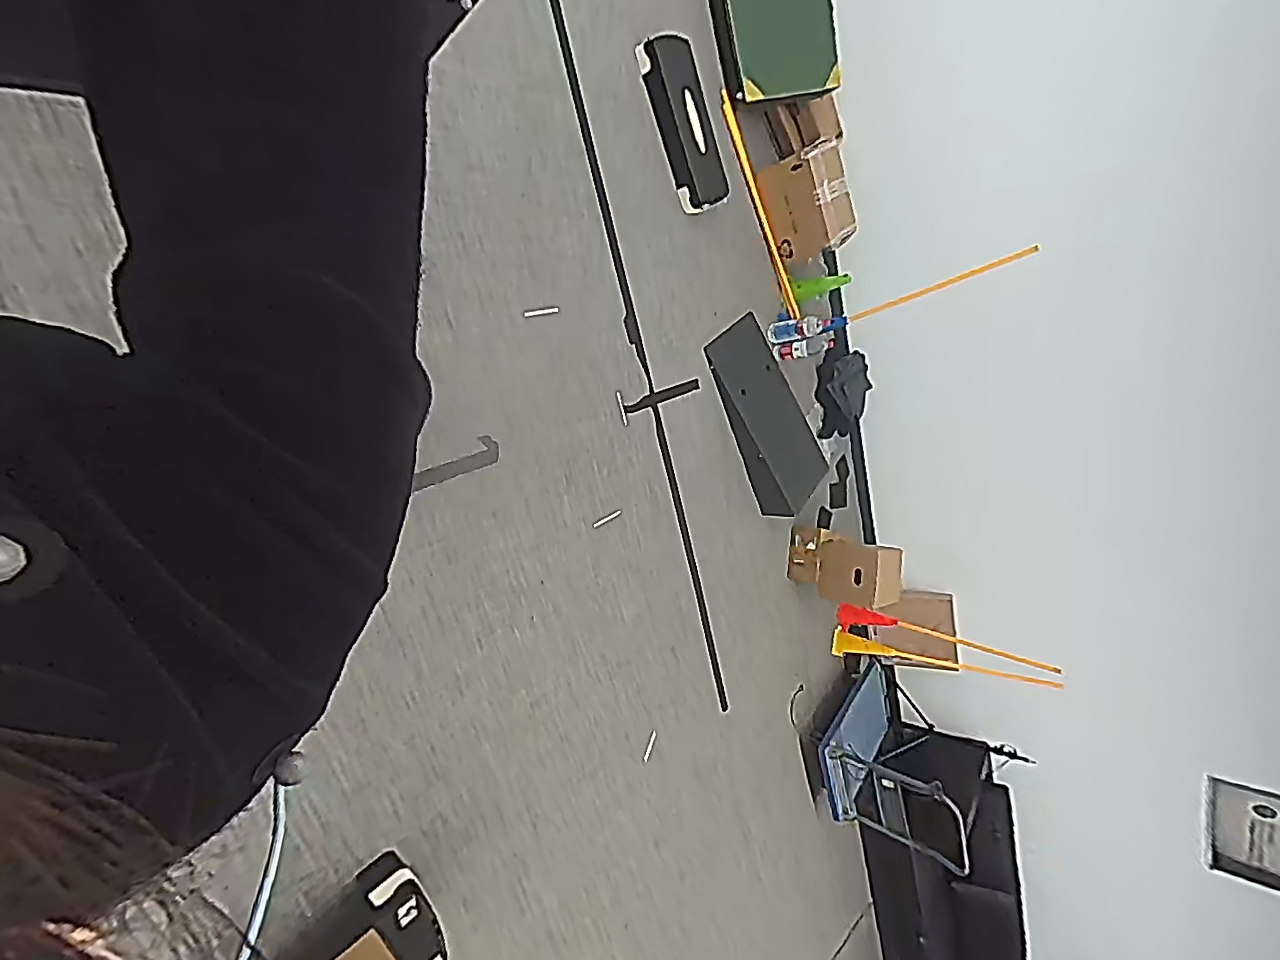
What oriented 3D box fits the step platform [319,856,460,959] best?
[{"bbox_3d":[-0.774,1.258,1.264,0.684,0.204,0.286,-20,104,-45],"label":"step platform"}]
